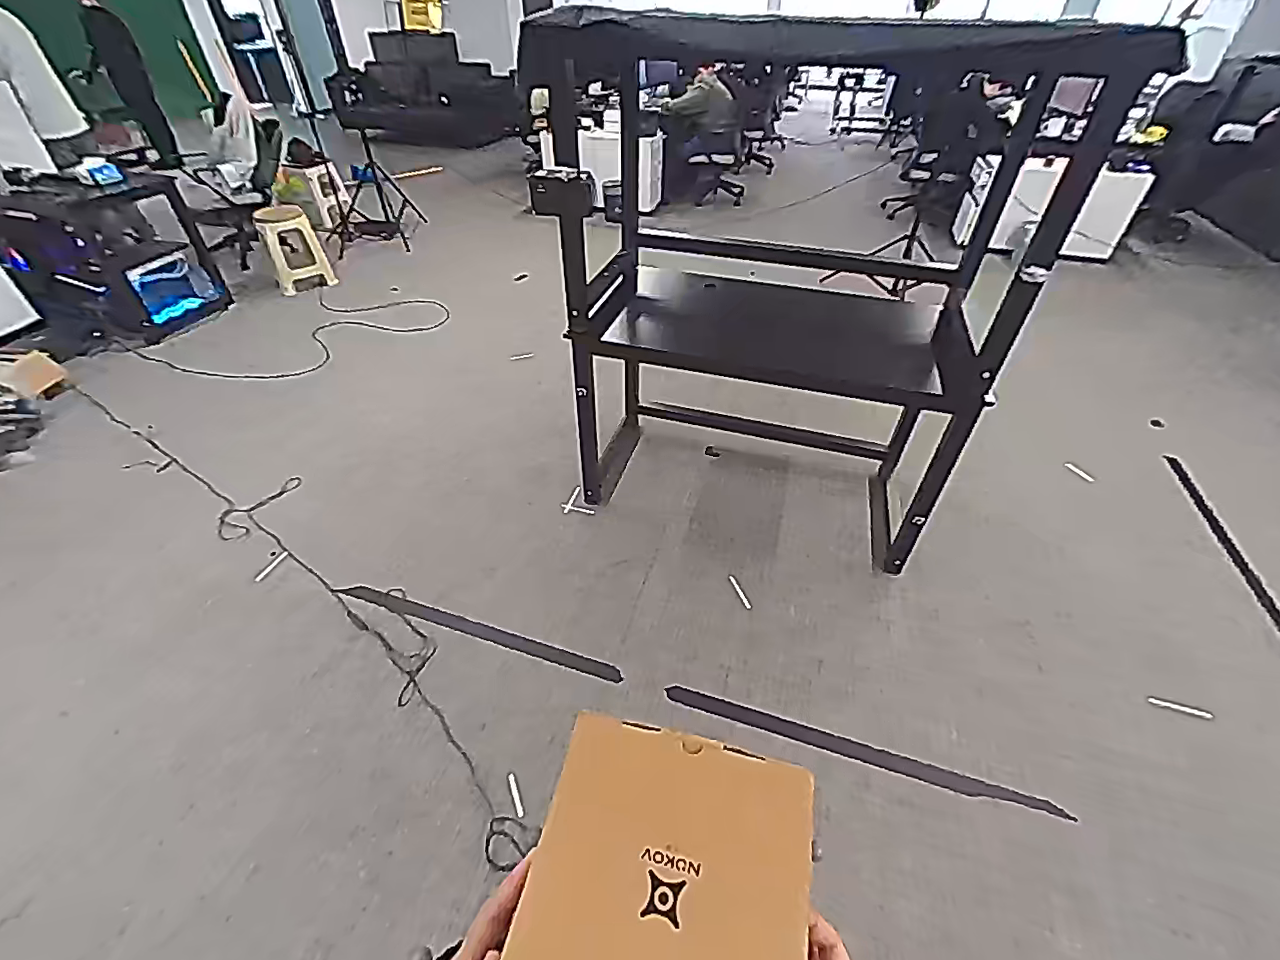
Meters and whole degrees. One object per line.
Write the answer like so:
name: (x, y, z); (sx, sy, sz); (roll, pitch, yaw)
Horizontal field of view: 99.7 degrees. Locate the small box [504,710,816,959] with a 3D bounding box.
small box: (0.020, 0.295, 0.375); (0.168, 0.176, 0.179); (9, 46, 10)
